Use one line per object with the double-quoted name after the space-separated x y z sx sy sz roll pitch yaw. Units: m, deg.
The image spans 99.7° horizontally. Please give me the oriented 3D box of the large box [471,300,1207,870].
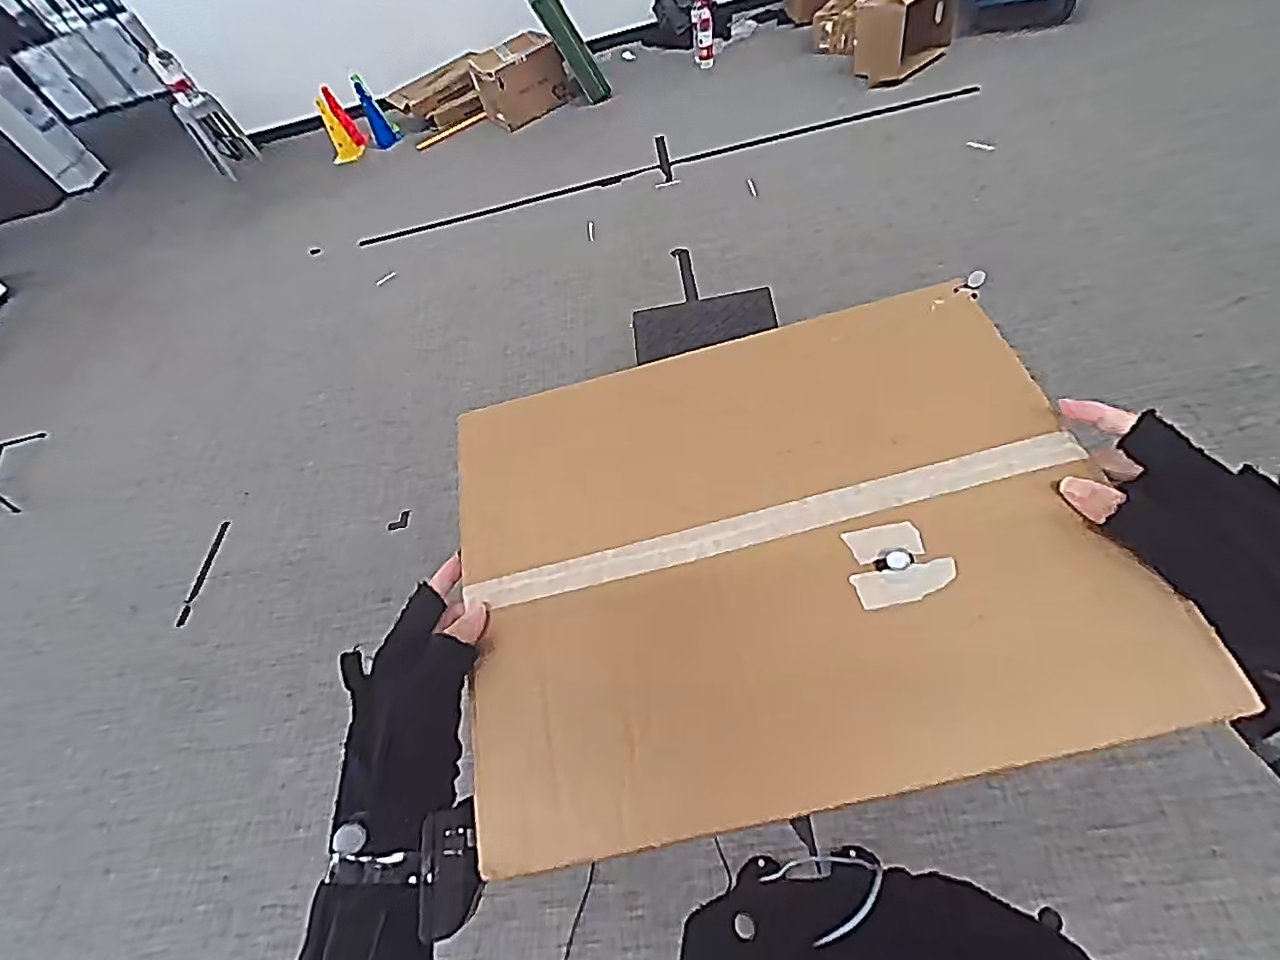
0.105 0.105 0.495 0.408 0.320 0.320 -15 62 2 "large box"
